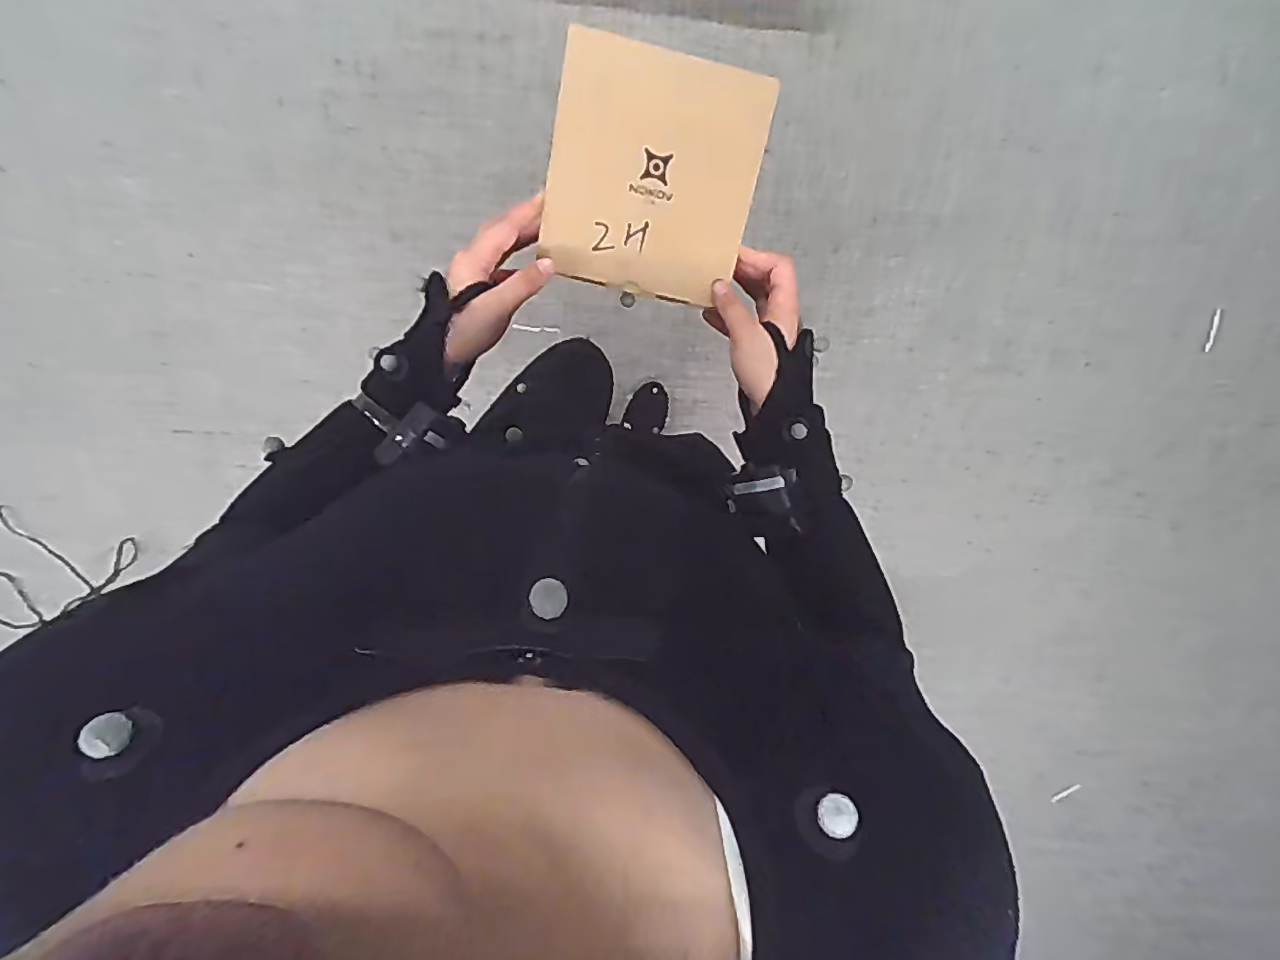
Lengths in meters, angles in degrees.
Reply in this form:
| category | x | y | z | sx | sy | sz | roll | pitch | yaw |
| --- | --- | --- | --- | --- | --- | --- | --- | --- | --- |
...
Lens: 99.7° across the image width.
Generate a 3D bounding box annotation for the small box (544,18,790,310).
| category | x | y | z | sx | sy | sz | roll | pitch | yaw |
| --- | --- | --- | --- | --- | --- | --- | --- | --- | --- |
| small box | 0.014 | -0.268 | 0.504 | 0.168 | 0.176 | 0.179 | 11 | 109 | -6 |
